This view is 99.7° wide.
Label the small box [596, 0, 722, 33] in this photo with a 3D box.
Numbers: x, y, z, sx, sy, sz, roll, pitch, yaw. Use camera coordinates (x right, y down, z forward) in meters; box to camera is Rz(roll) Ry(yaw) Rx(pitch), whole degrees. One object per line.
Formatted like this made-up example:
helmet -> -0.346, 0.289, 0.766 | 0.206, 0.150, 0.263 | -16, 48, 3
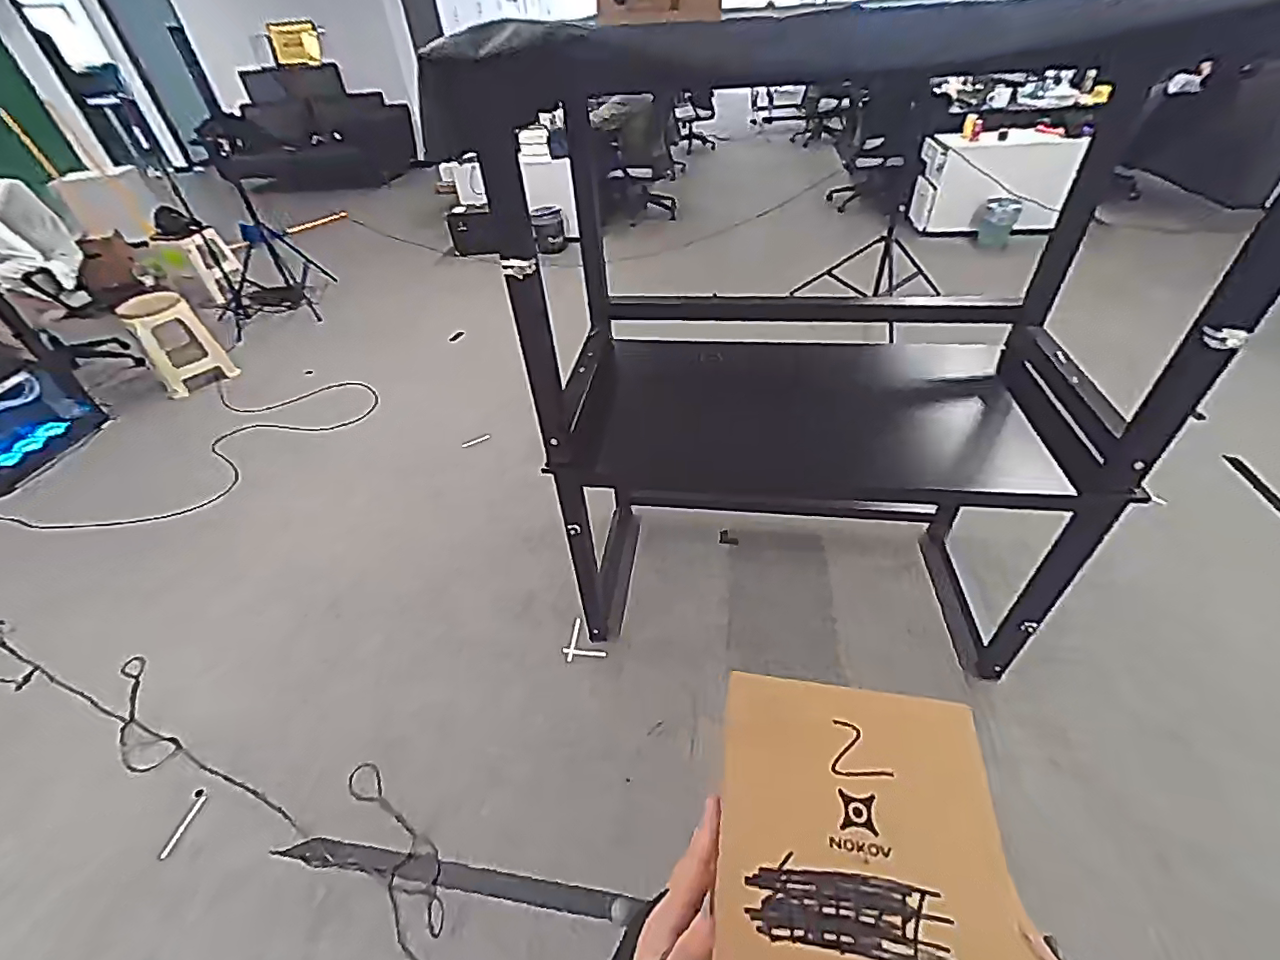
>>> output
small box -> 0.028, -0.705, 0.713 | 0.168, 0.176, 0.179 | 2, 40, 5
